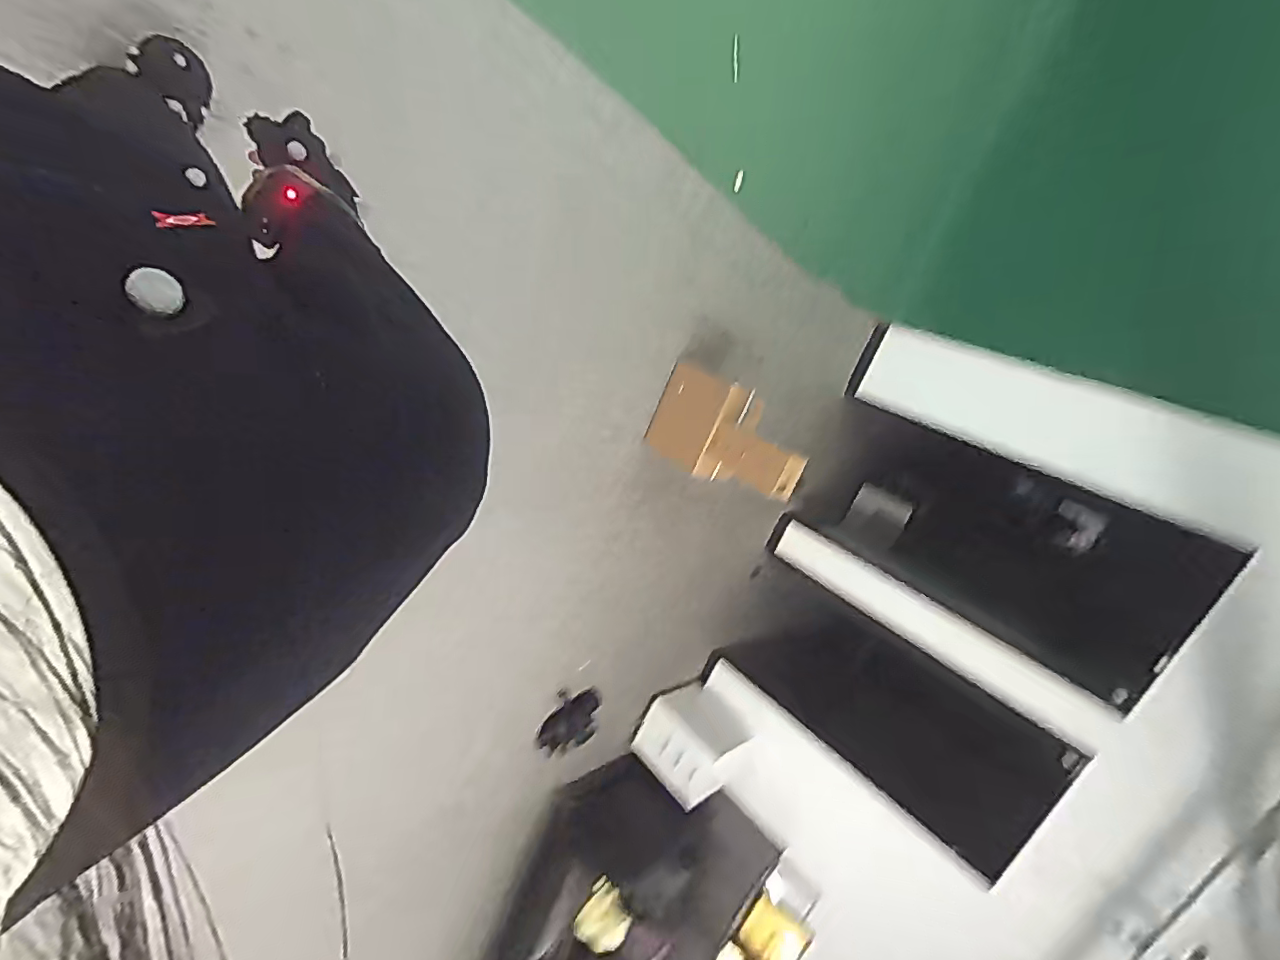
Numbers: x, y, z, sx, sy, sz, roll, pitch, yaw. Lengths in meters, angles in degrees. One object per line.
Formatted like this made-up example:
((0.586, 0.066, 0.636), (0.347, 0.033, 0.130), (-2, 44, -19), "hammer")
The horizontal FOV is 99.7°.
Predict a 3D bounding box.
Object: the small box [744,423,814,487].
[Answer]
((0.522, -0.095, 2.063), (0.168, 0.176, 0.179), (10, 110, -51), "small box")

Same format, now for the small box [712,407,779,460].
((0.419, -0.178, 2.161), (0.179, 0.176, 0.168), (11, 110, -50), "small box")
